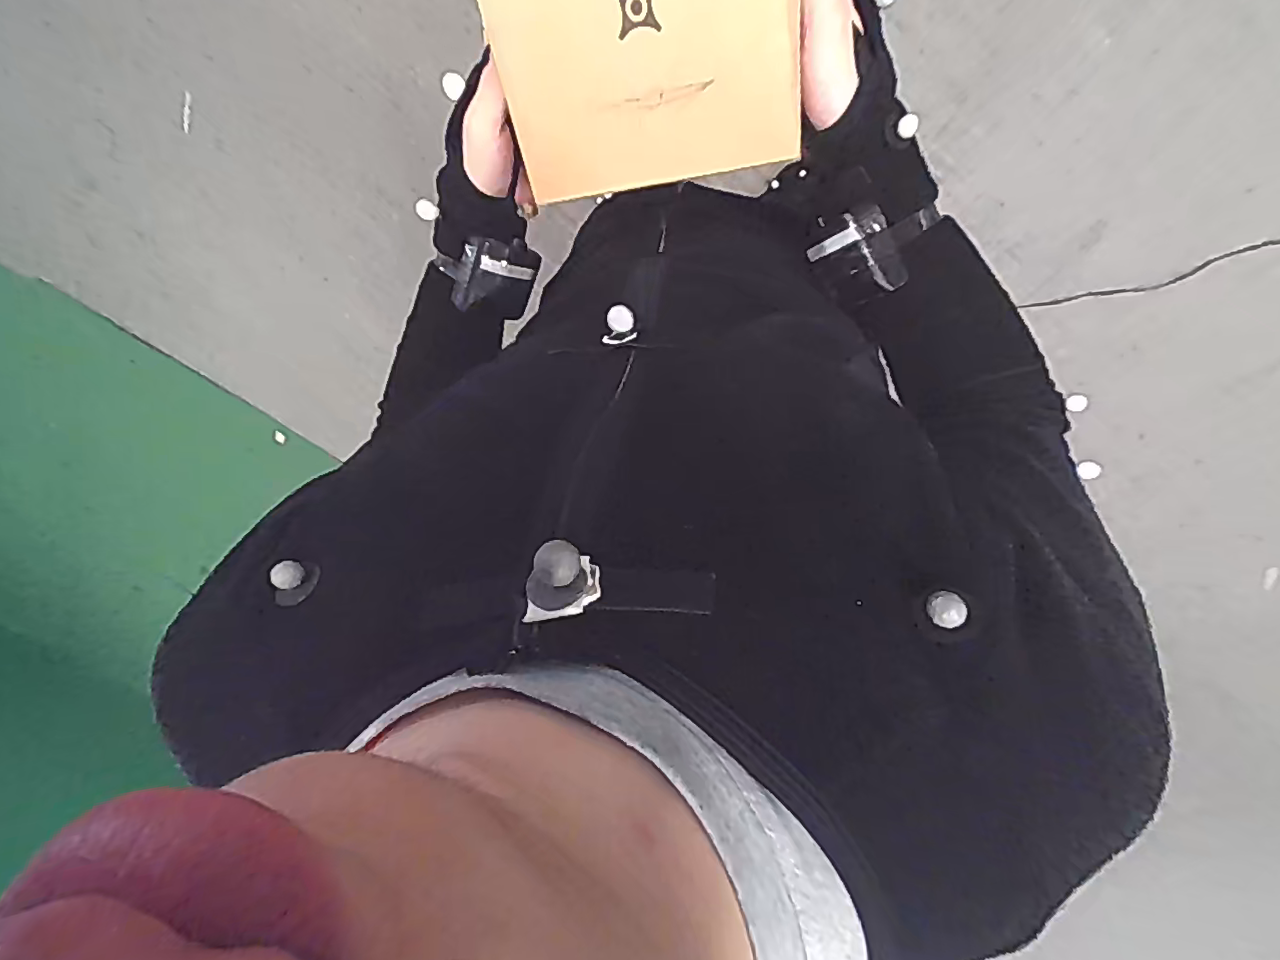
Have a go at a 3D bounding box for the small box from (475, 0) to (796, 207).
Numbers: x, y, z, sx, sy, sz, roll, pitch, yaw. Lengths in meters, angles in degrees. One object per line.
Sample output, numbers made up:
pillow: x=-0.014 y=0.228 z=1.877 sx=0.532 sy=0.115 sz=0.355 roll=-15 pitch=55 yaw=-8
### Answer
small box: x=0.005 y=-0.297 z=0.337 sx=0.168 sy=0.176 sz=0.179 roll=-2 pitch=133 yaw=12
